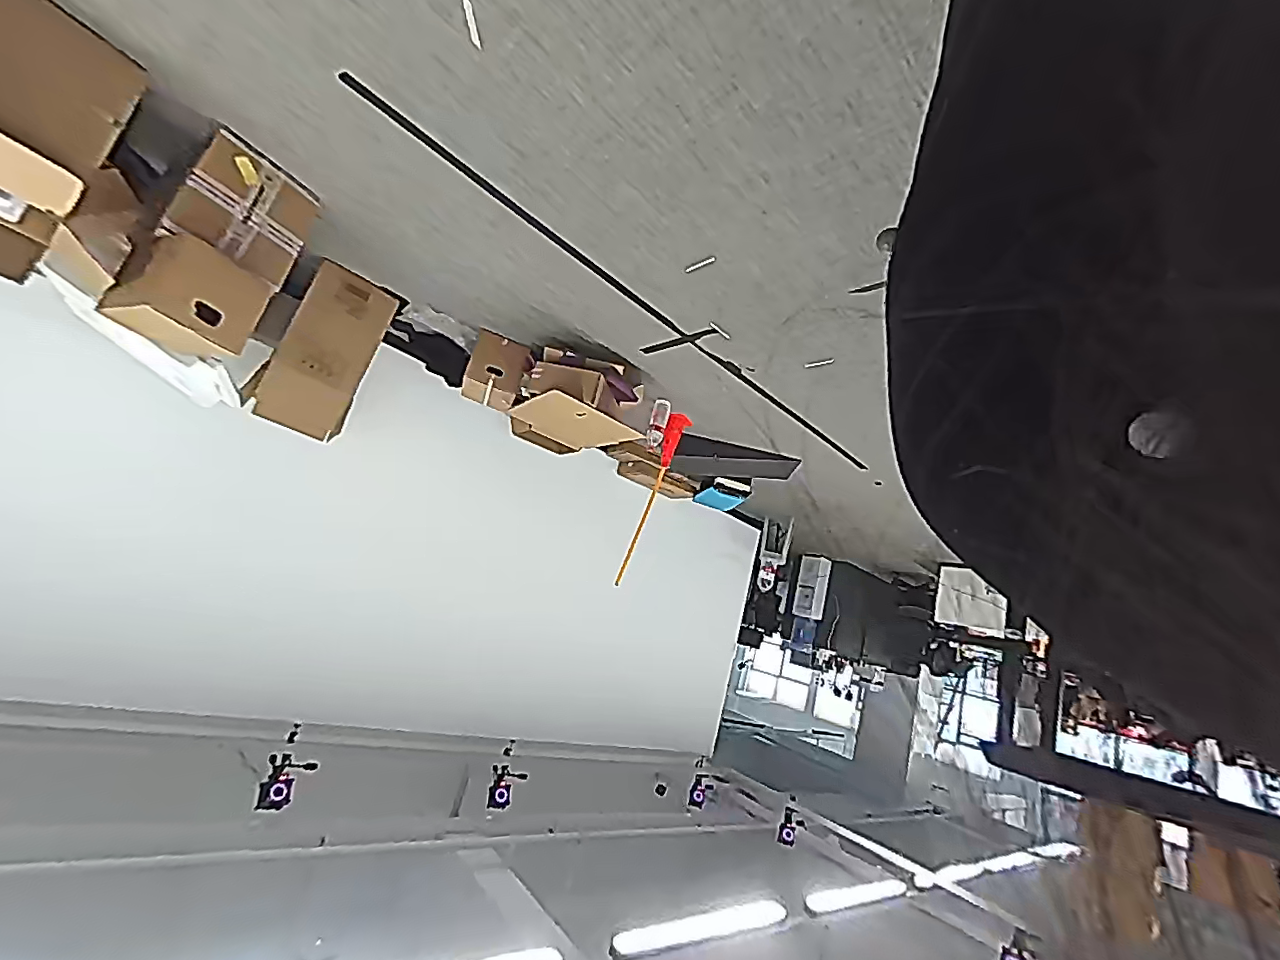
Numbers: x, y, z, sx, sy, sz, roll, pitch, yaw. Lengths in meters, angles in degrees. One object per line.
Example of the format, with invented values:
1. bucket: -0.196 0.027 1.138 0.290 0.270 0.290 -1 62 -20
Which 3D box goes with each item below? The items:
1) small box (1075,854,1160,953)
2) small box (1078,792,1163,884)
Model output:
1. small box: 1.348 1.175 1.524 0.179 0.176 0.168 26 163 -39
2. small box: 1.388 1.020 1.560 0.179 0.176 0.168 25 162 -38
